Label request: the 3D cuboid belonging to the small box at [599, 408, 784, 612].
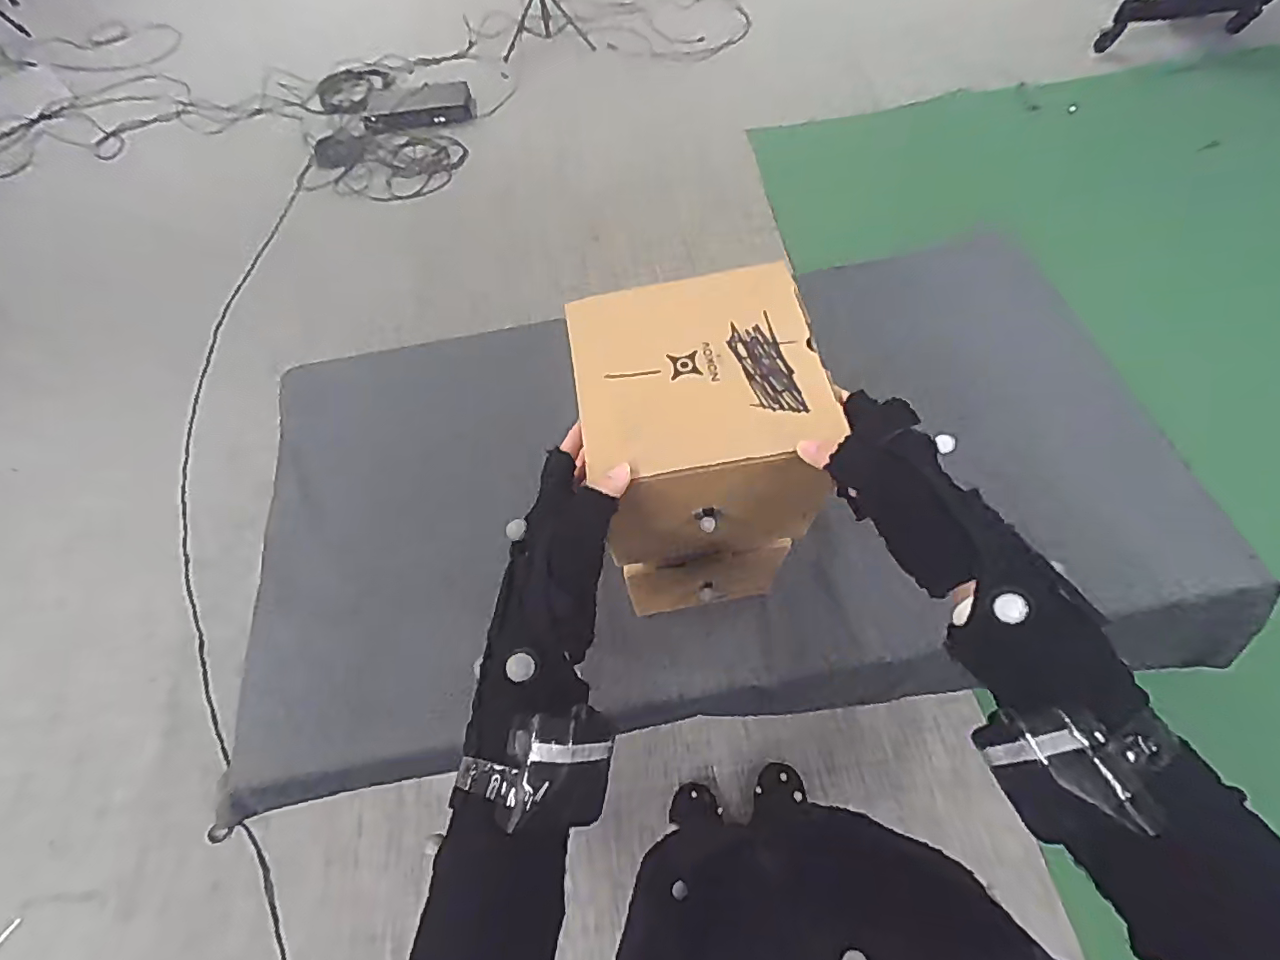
[{"bbox_3d":[0.054,0.045,0.627,0.168,0.176,0.179,-10,63,-1],"label":"small box"}]
